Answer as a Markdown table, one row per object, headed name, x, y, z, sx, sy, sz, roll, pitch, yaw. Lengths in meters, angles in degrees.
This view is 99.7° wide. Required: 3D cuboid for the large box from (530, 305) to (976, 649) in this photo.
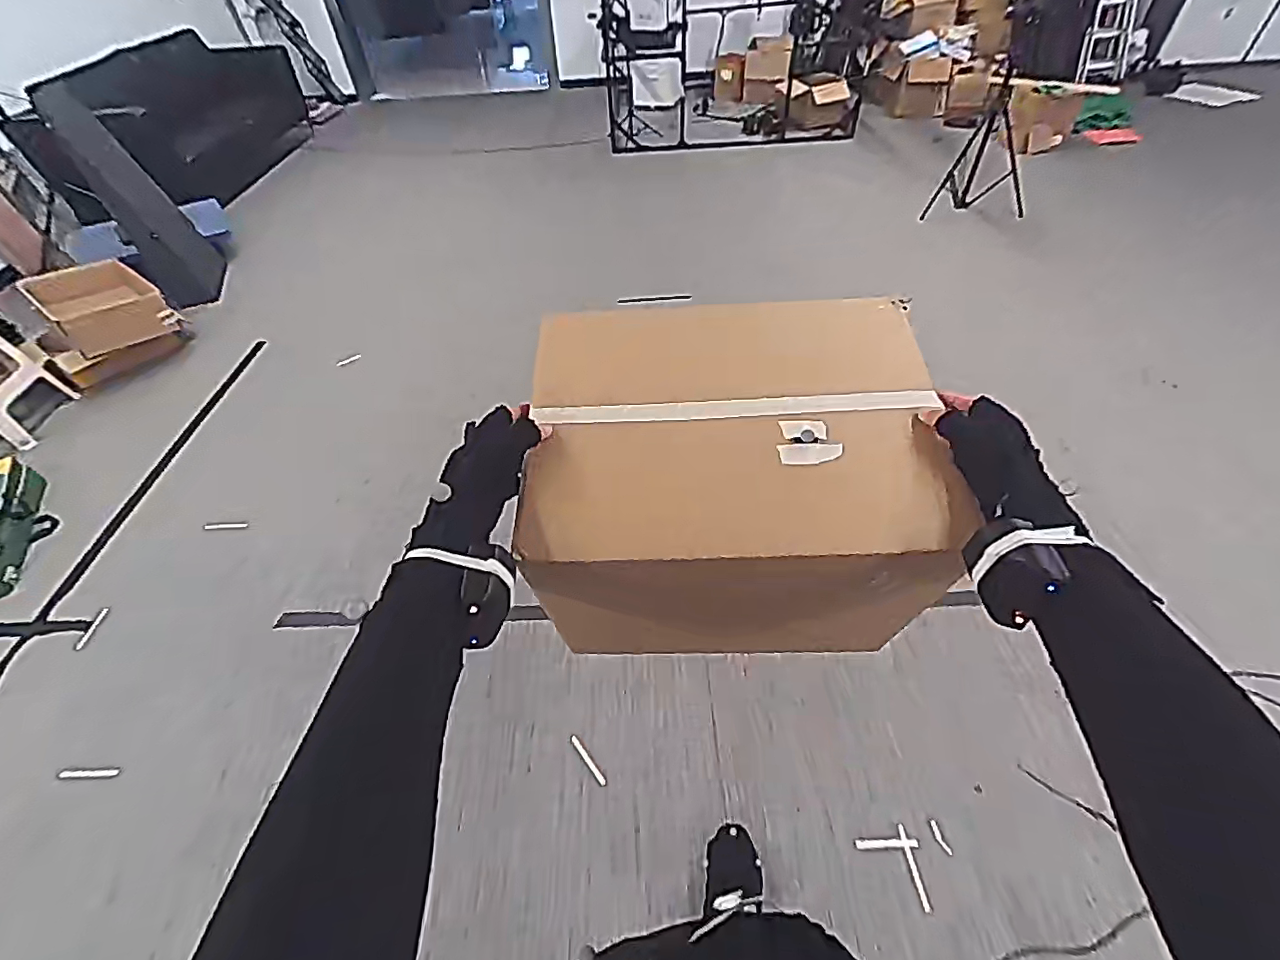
| name | x | y | z | sx | sy | sz | roll | pitch | yaw |
| --- | --- | --- | --- | --- | --- | --- | --- | --- | --- |
| large box | 0.102 | 0.014 | 0.682 | 0.408 | 0.320 | 0.320 | -2 | 58 | 3 |
